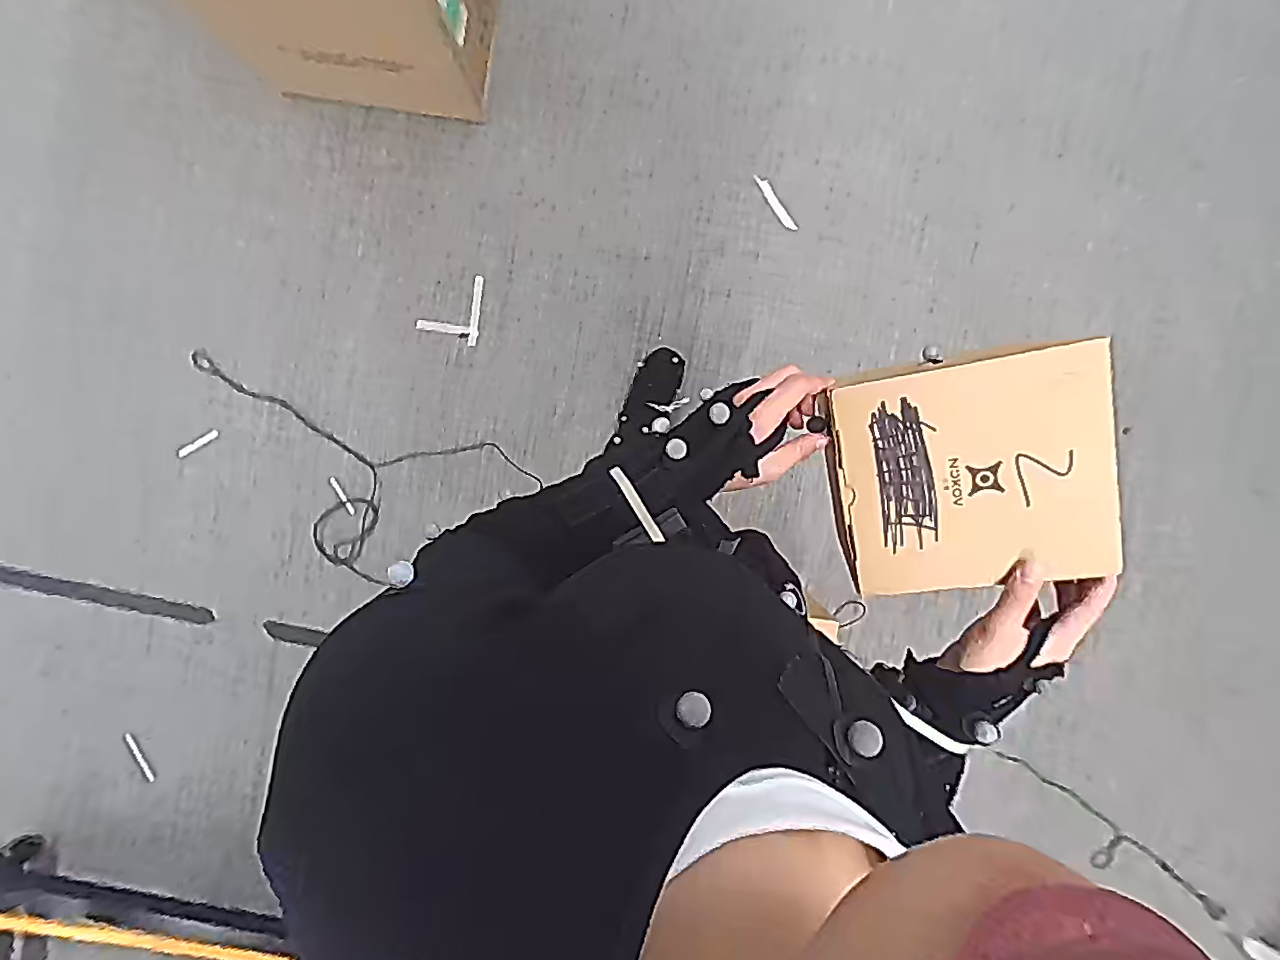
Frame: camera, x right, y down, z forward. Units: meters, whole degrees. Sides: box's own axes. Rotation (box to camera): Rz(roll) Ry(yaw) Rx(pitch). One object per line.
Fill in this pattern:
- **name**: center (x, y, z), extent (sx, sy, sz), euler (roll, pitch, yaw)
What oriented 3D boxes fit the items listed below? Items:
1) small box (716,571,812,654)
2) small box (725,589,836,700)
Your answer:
- **small box**: center (0.291, 0.326, 1.303), extent (0.179, 0.176, 0.168), euler (10, 93, 1)
- **small box**: center (0.287, 0.336, 1.139), extent (0.179, 0.176, 0.168), euler (9, 93, 1)
